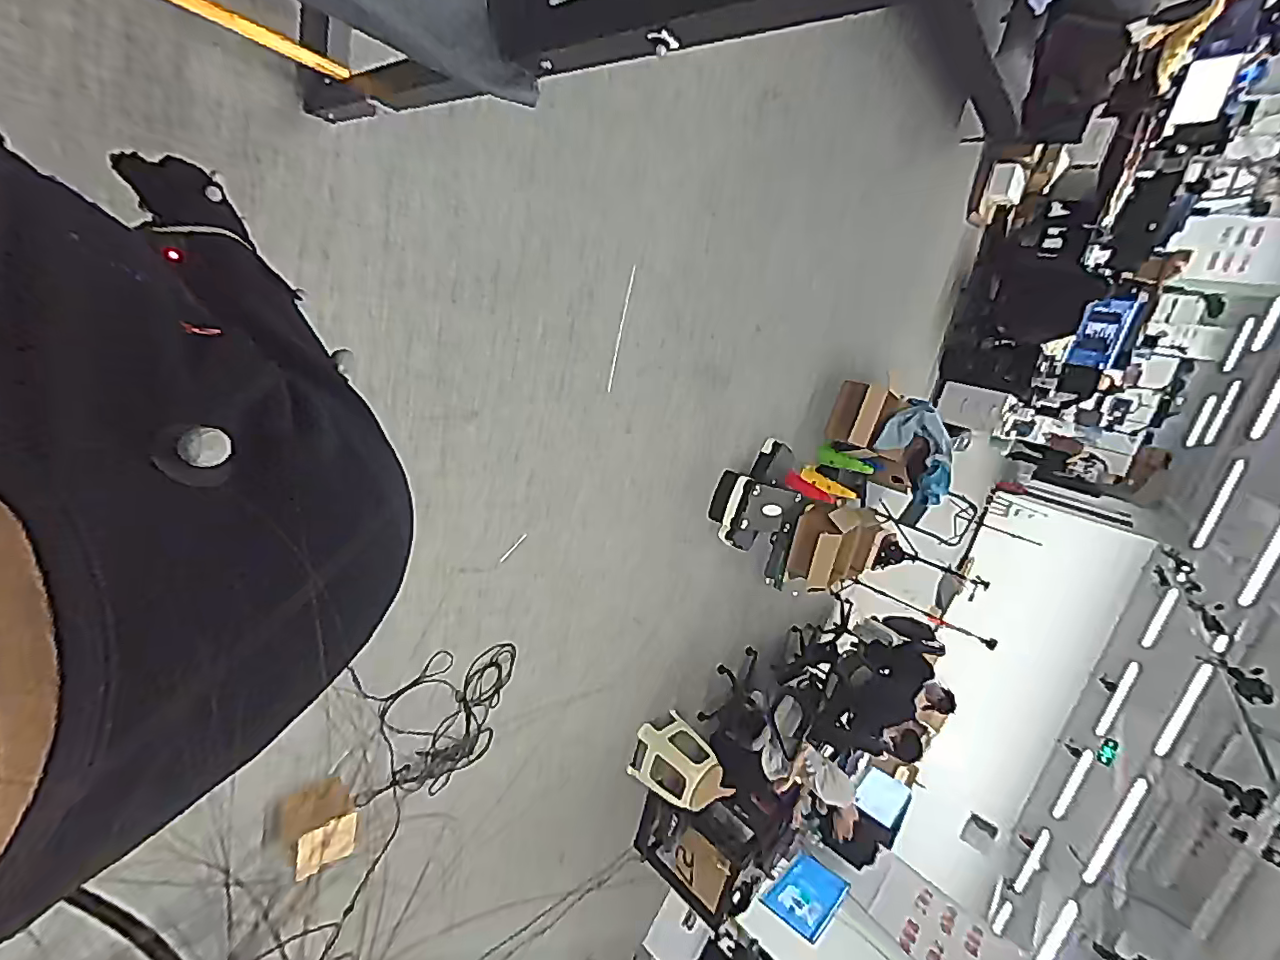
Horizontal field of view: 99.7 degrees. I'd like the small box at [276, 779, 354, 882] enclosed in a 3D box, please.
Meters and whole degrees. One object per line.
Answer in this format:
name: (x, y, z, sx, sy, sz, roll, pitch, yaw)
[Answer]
small box: (-1.026, 1.092, 1.700, 0.168, 0.176, 0.179, -5, 112, -49)
